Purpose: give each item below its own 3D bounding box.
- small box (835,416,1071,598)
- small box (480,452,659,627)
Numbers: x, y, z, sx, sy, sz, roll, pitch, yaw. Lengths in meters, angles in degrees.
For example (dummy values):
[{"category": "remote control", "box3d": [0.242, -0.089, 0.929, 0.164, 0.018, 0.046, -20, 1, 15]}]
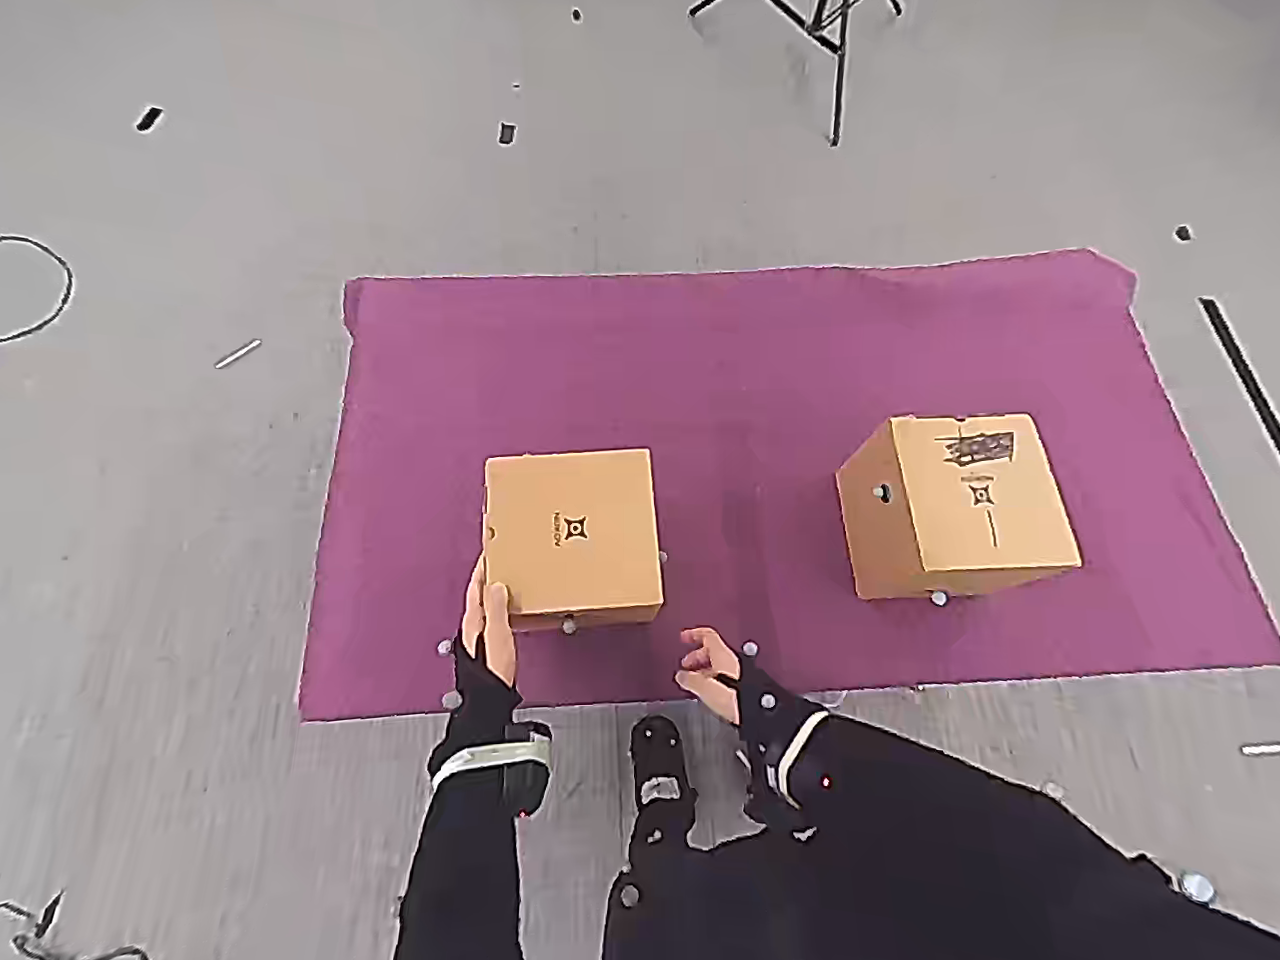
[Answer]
[{"category": "small box", "box3d": [0.352, 0.039, 0.652, 0.168, 0.176, 0.179, -2, 69, -2]}, {"category": "small box", "box3d": [-0.076, 0.076, 0.625, 0.179, 0.176, 0.168, -4, 71, -2]}]
